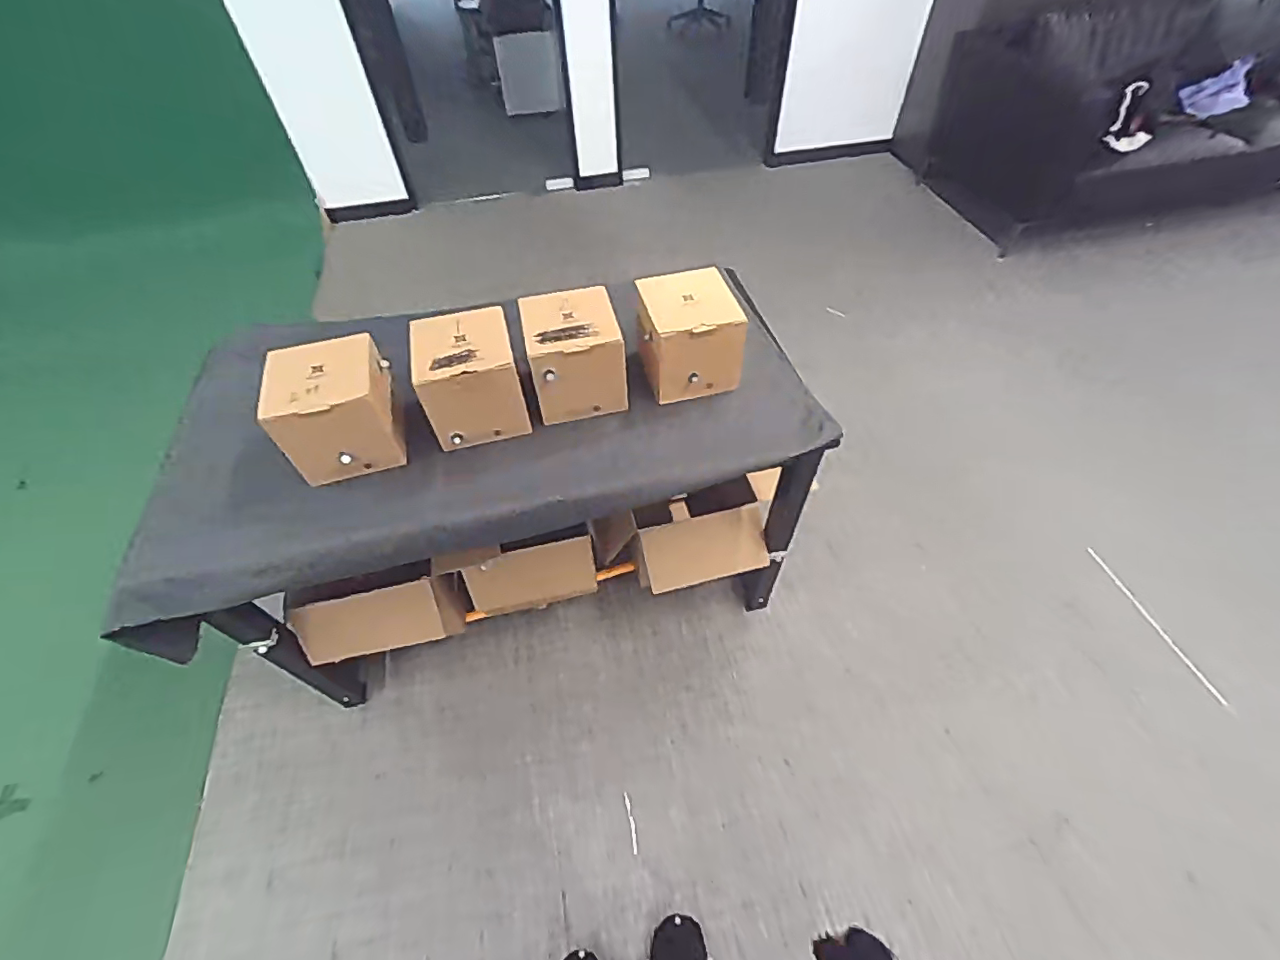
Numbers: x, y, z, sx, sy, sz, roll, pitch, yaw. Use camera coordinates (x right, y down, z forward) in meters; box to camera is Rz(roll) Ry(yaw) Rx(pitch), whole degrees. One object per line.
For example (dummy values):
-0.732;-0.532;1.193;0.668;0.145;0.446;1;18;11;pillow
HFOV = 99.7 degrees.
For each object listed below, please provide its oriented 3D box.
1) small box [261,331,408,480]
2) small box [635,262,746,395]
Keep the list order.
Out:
-0.522;-0.129;0.947;0.168;0.176;0.179;-16;54;-9;small box
0.090;-0.293;1.051;0.168;0.176;0.179;-13;54;-8;small box
